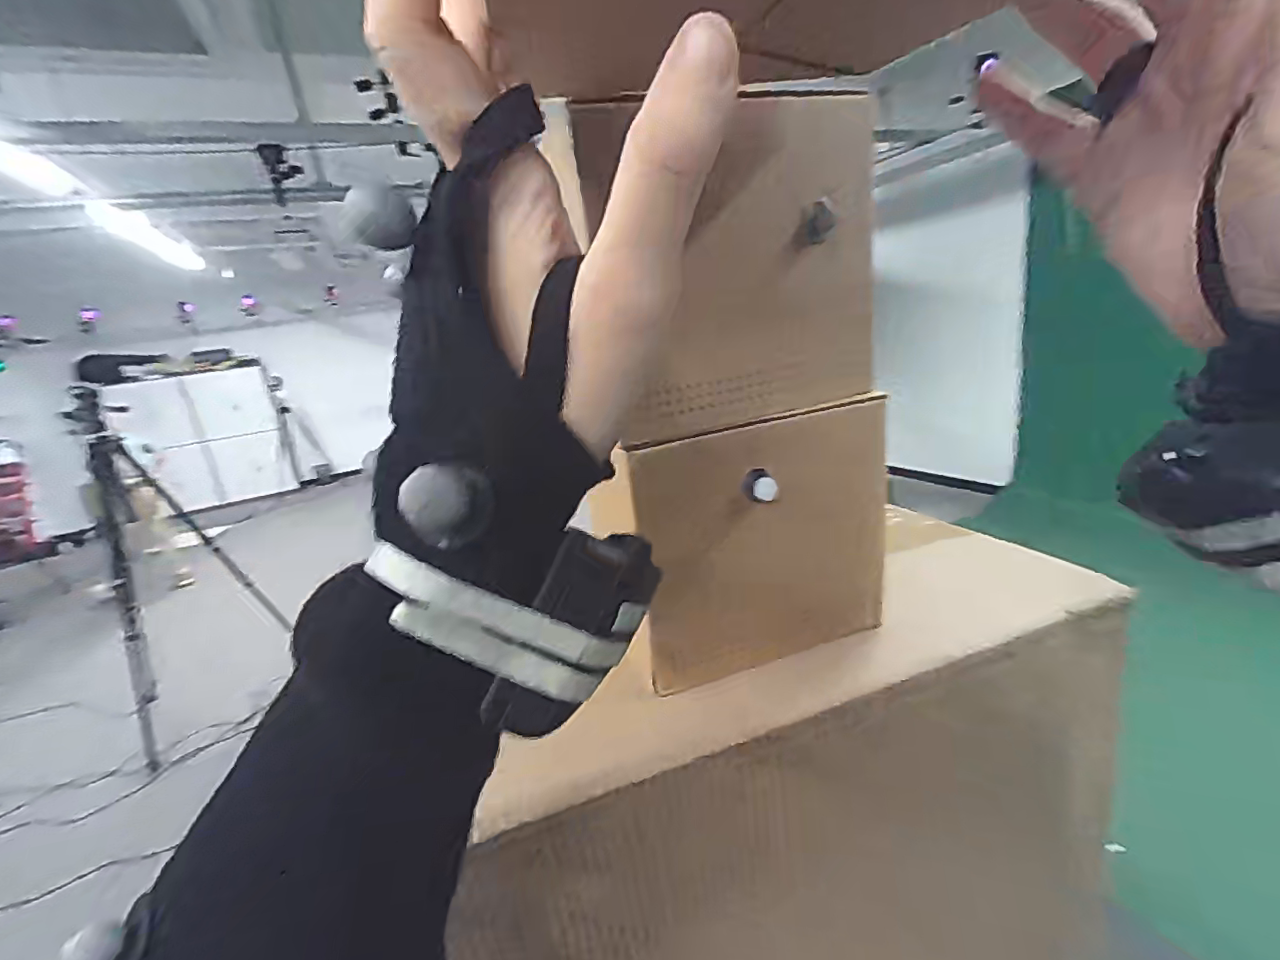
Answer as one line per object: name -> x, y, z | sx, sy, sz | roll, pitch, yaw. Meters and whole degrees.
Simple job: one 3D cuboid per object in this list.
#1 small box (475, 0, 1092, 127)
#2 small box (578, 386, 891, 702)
small box -> 0.036, -0.204, 0.141 | 0.179, 0.176, 0.168 | -9, 25, -7
small box -> 0.062, 0.033, 0.415 | 0.179, 0.176, 0.168 | -13, 18, -14
